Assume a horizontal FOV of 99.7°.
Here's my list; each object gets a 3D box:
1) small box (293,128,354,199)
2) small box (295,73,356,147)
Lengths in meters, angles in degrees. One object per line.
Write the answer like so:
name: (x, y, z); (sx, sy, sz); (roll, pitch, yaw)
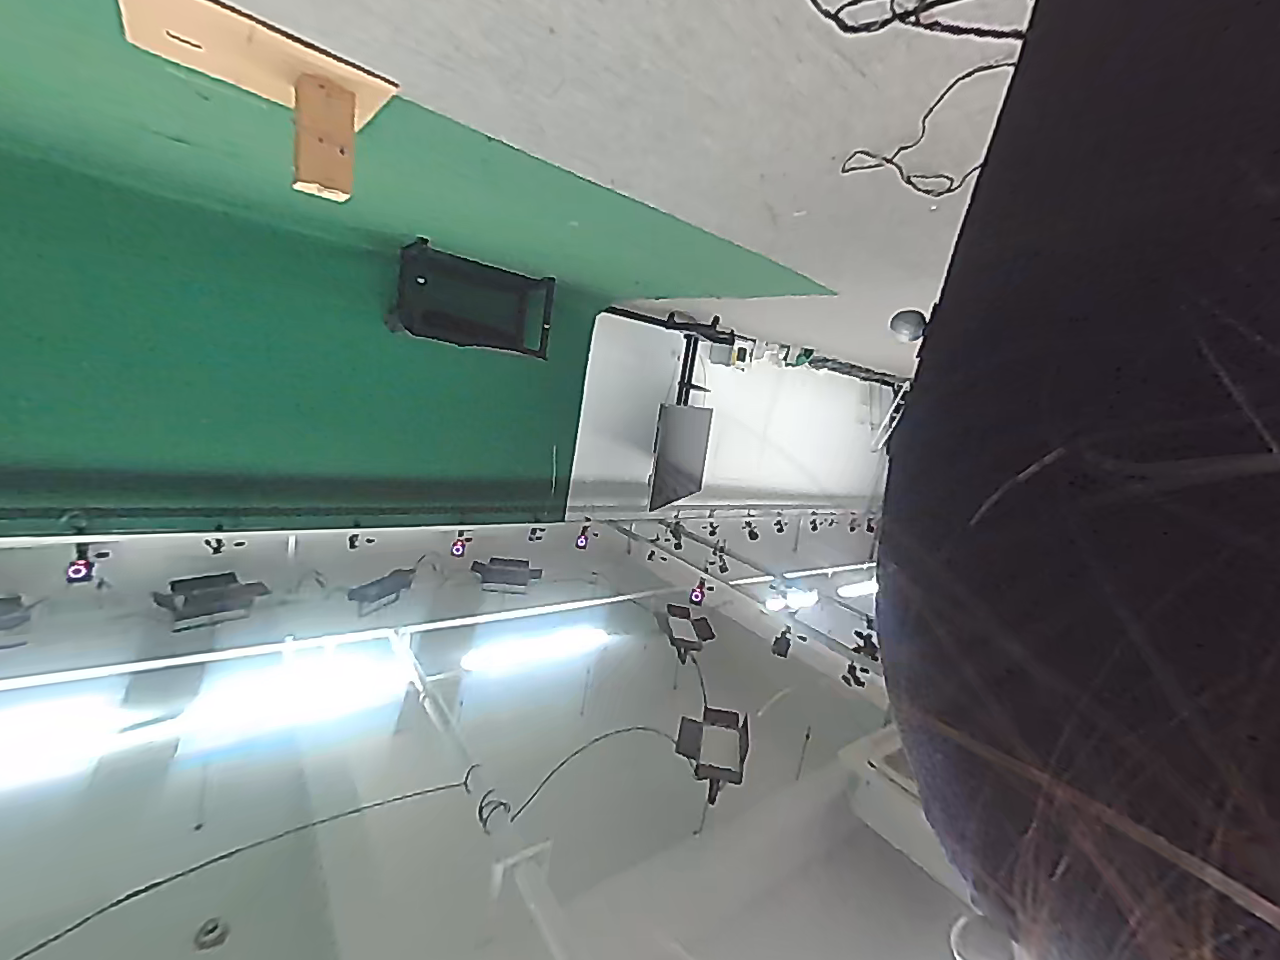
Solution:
small box: (-1.148, -1.144, 1.959); (0.168, 0.176, 0.179); (0, -165, -41)
small box: (-1.122, -1.303, 1.927); (0.168, 0.176, 0.179); (0, -166, -39)
